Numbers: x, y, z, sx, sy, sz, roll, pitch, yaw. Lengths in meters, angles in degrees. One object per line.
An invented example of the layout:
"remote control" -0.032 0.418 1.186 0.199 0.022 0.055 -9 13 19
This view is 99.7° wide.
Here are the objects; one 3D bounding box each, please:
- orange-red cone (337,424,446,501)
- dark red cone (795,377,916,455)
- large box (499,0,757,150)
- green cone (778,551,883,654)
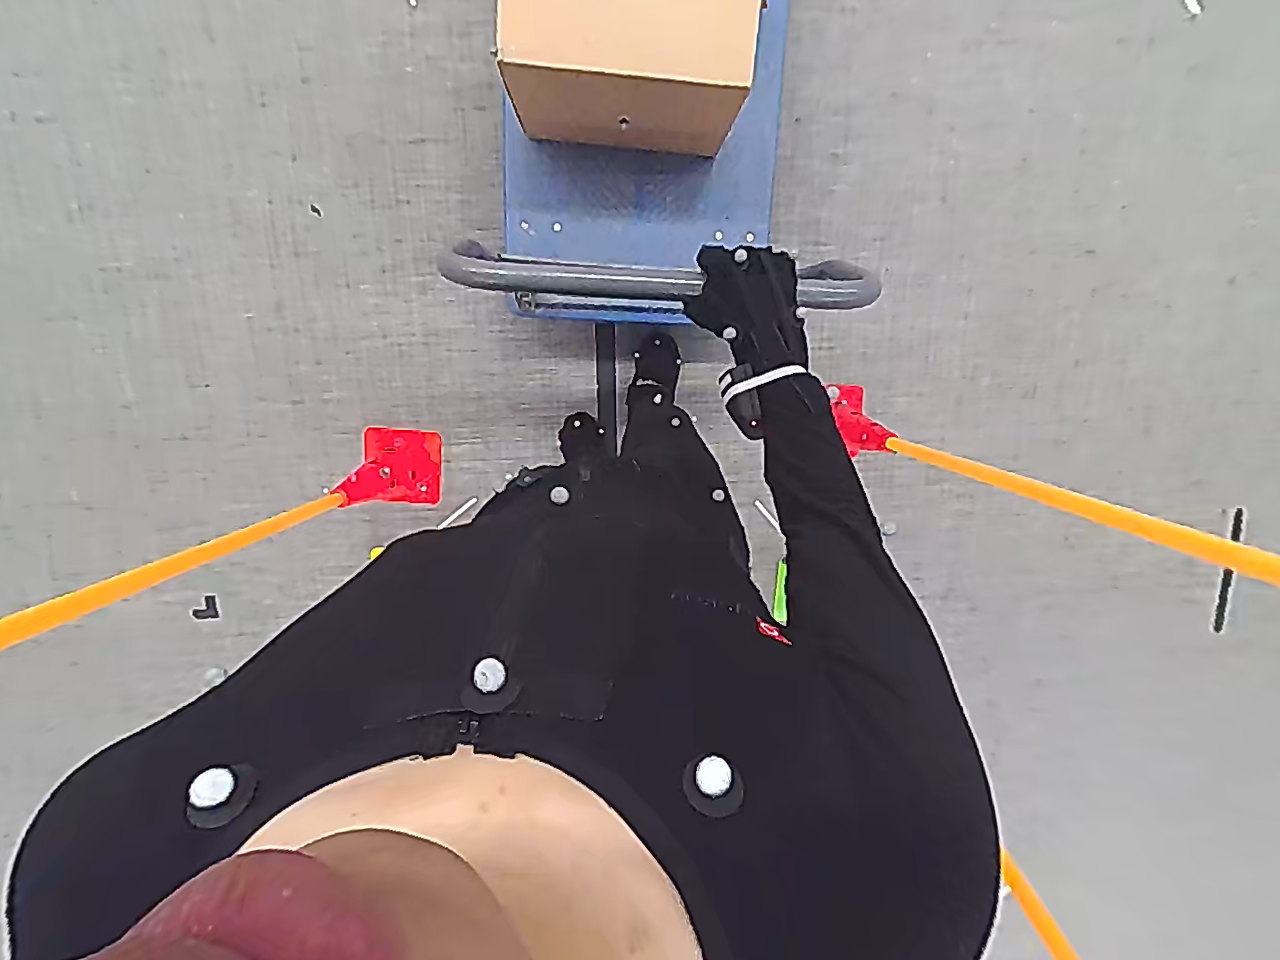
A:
"orange-red cone" -0.609 -0.012 1.268 0.198 0.360 0.199 5 101 -4
"dark red cone" 0.519 -0.132 1.265 0.201 0.394 0.202 -2 103 -4
"large box" -0.018 -0.819 0.965 0.408 0.320 0.320 3 103 -3
"green cone" 0.511 0.338 1.385 0.202 0.368 0.200 2 102 -4
